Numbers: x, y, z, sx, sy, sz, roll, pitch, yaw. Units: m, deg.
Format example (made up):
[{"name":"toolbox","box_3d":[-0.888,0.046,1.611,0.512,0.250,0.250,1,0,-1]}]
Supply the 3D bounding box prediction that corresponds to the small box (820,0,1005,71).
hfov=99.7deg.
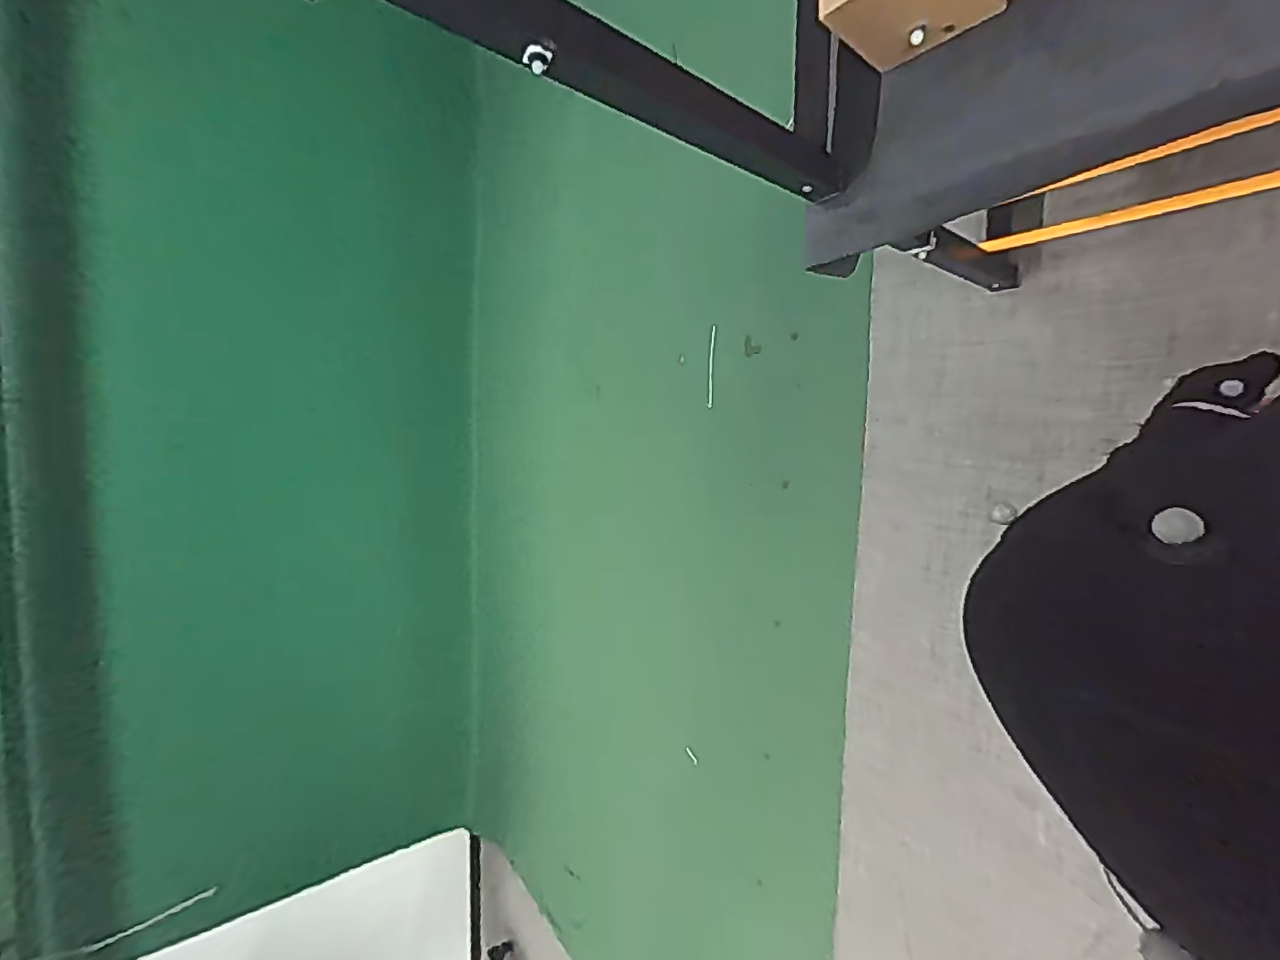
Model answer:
[{"name":"small box","box_3d":[0.354,-0.682,0.691,0.168,0.176,0.179,8,98,52]}]
